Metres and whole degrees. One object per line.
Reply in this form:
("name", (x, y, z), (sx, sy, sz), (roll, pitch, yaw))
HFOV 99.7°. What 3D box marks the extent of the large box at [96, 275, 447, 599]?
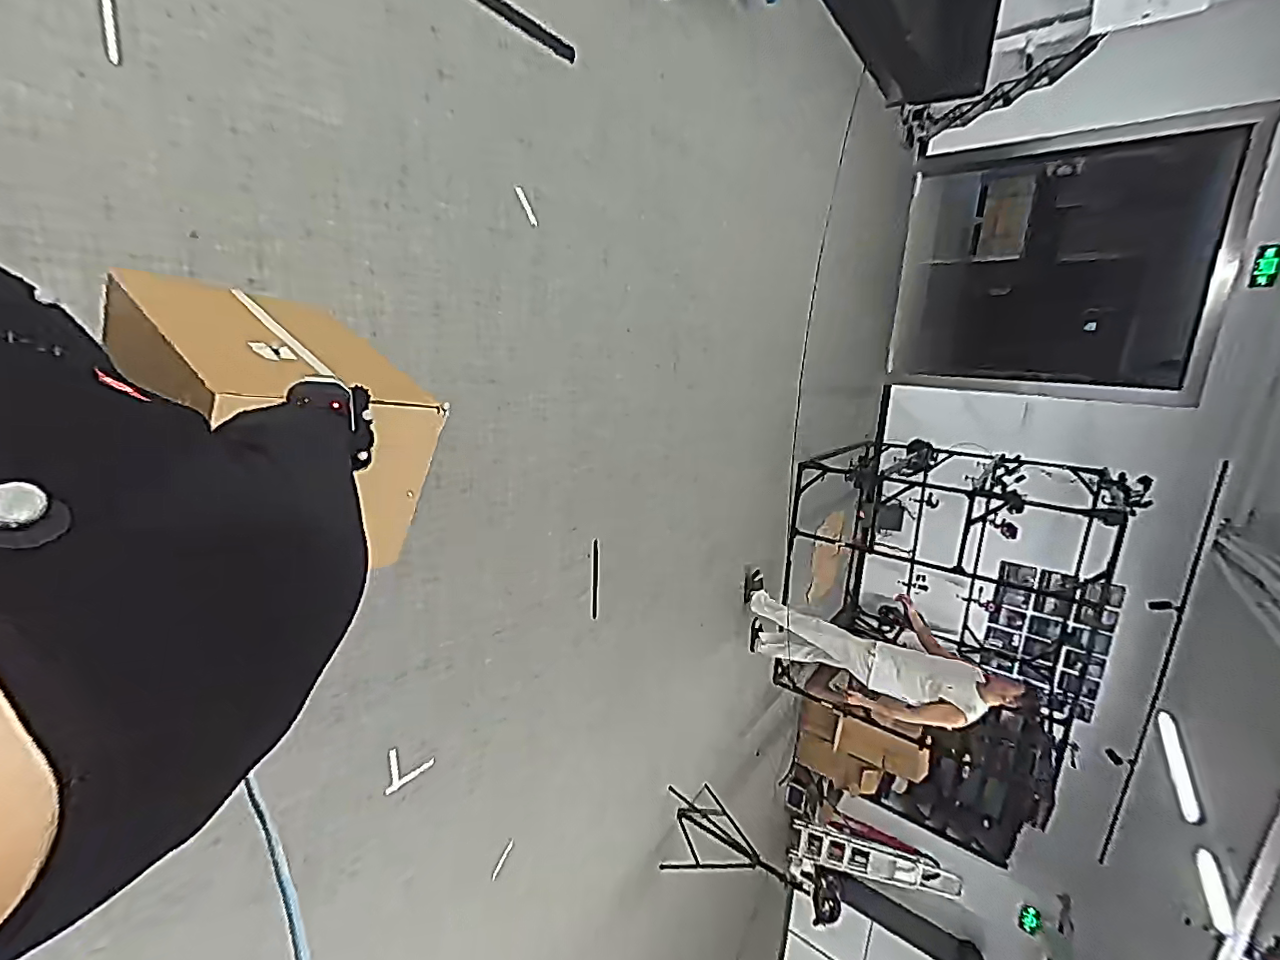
("large box", (-0.602, -0.076, 0.880), (0.320, 0.408, 0.320), (-7, 128, -57))
